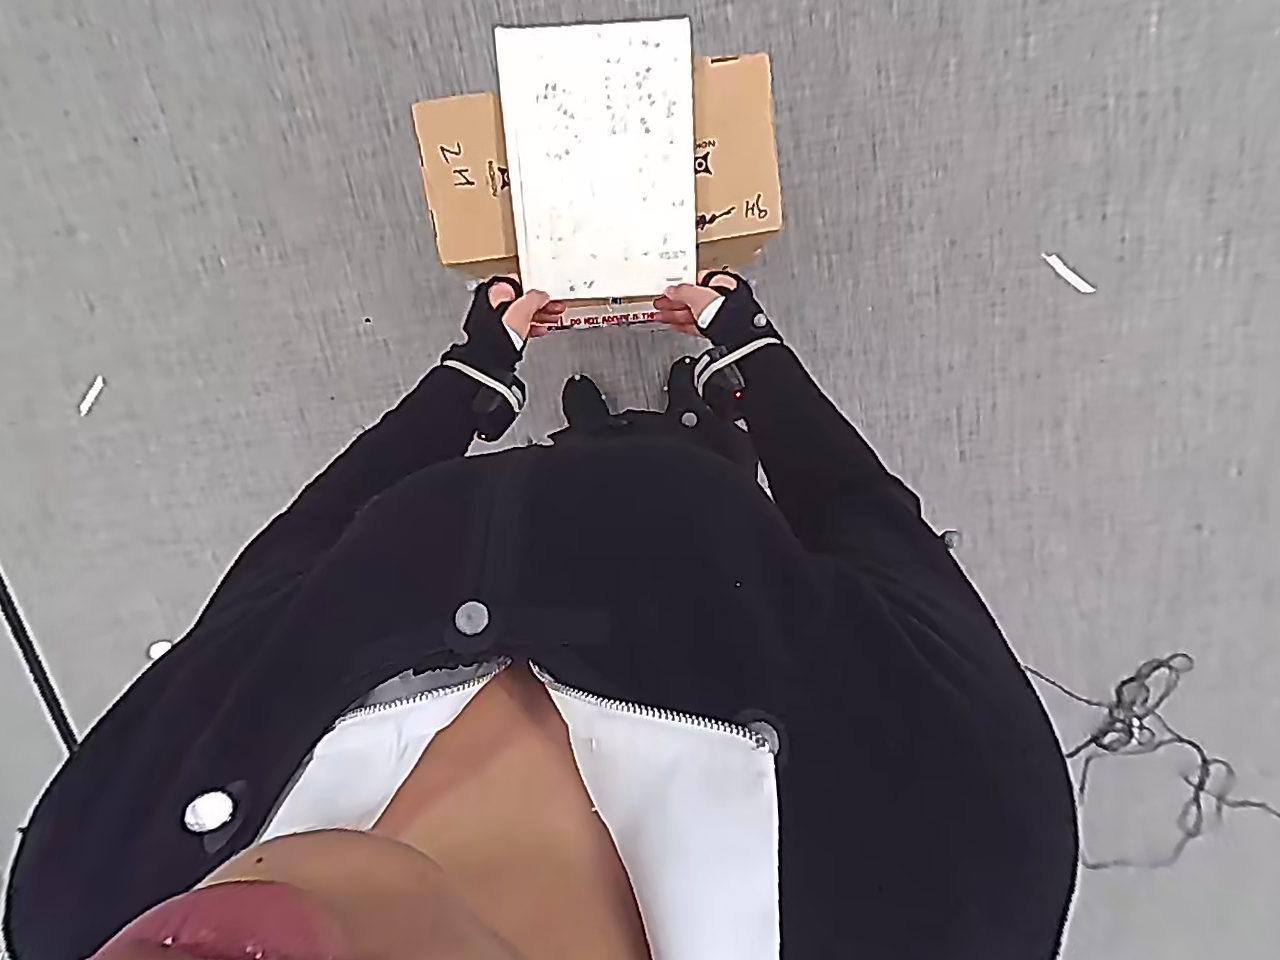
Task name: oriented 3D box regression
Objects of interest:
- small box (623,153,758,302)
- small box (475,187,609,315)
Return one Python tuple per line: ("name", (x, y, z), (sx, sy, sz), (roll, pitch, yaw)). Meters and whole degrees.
("small box", (0.073, -0.380, 0.843), (0.179, 0.176, 0.168), (-10, 104, 3))
("small box", (-0.142, -0.352, 0.856), (0.179, 0.176, 0.168), (-1, 105, 4))
